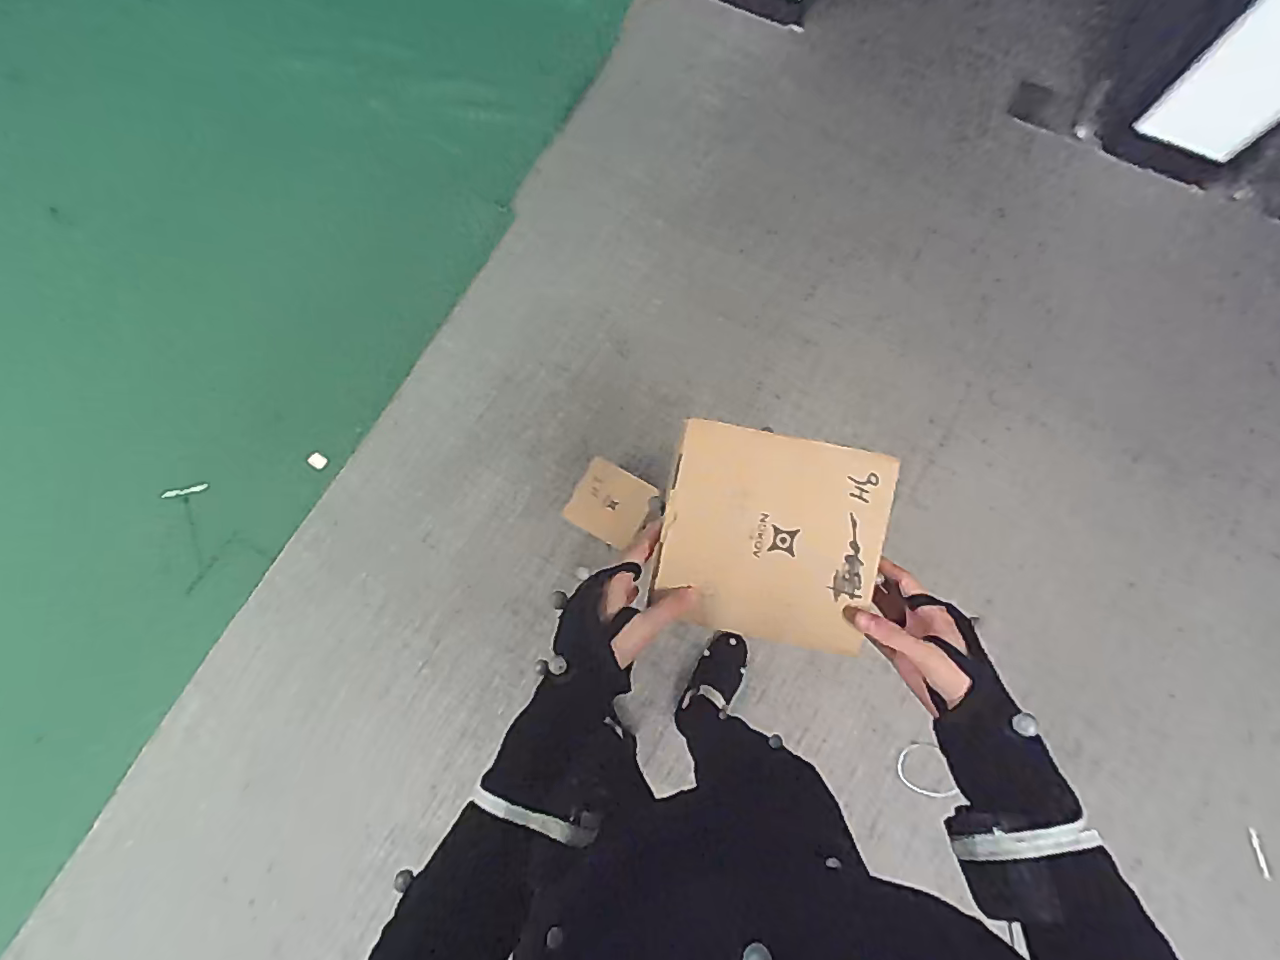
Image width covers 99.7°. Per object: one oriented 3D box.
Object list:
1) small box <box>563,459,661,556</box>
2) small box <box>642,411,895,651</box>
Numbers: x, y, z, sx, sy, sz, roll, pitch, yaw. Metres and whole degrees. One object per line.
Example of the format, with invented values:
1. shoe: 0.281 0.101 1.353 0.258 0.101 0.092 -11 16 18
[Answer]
1. small box: -0.058 0.074 1.319 0.179 0.176 0.168 29 82 10
2. small box: 0.106 0.039 0.512 0.179 0.176 0.168 11 92 2
